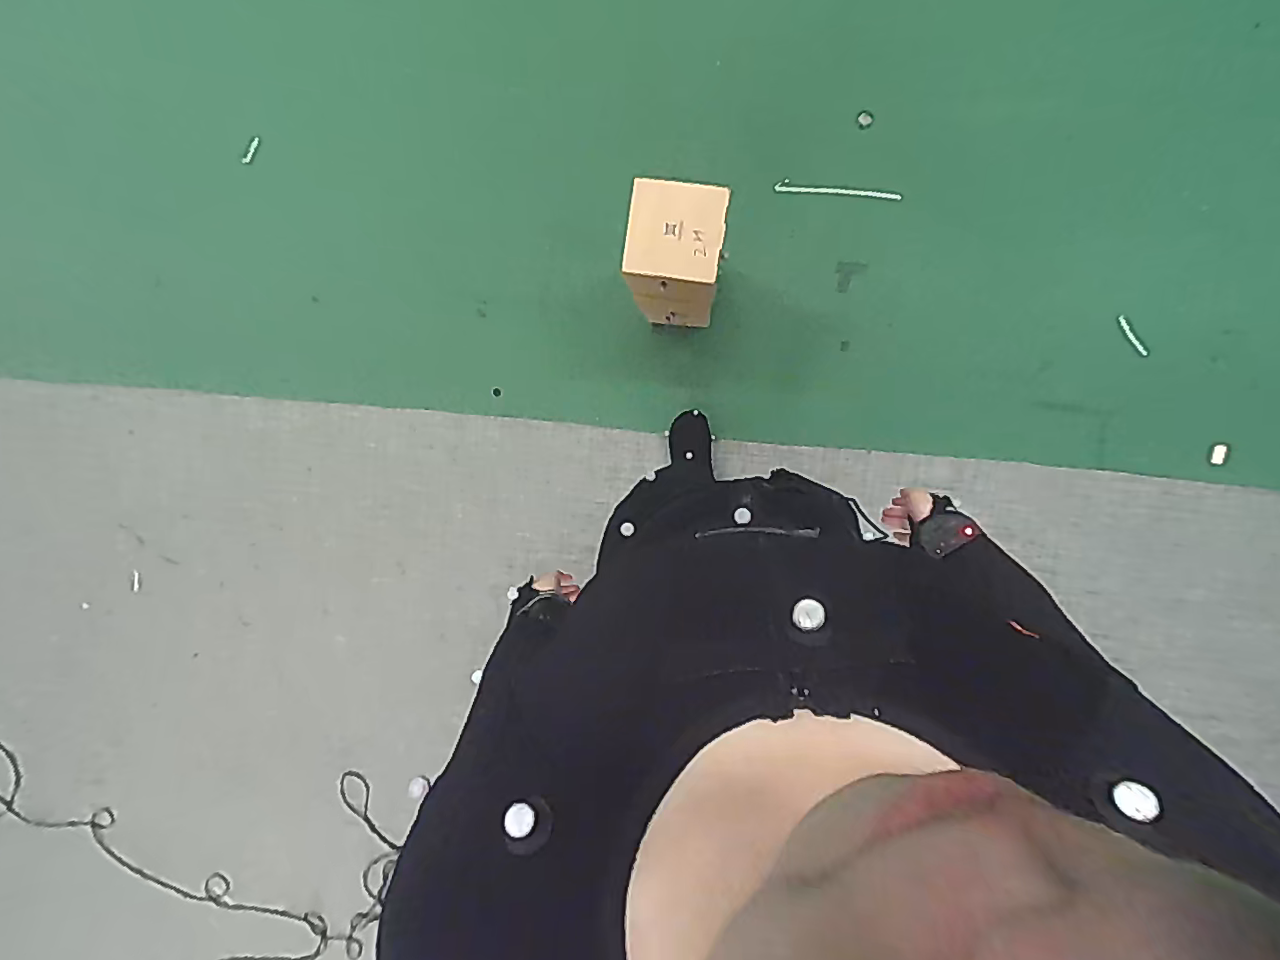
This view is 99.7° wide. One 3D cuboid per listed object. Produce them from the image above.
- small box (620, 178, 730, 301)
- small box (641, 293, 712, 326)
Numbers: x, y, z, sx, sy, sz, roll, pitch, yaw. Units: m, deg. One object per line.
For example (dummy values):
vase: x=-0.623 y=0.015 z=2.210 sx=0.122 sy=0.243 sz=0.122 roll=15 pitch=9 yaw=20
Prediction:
small box: x=0.069 y=-0.451 z=1.038 sx=0.179 sy=0.176 sz=0.168 roll=10 pitch=98 yaw=5
small box: x=0.100 y=-0.494 z=1.363 sx=0.168 sy=0.176 sz=0.179 roll=7 pitch=96 yaw=5
